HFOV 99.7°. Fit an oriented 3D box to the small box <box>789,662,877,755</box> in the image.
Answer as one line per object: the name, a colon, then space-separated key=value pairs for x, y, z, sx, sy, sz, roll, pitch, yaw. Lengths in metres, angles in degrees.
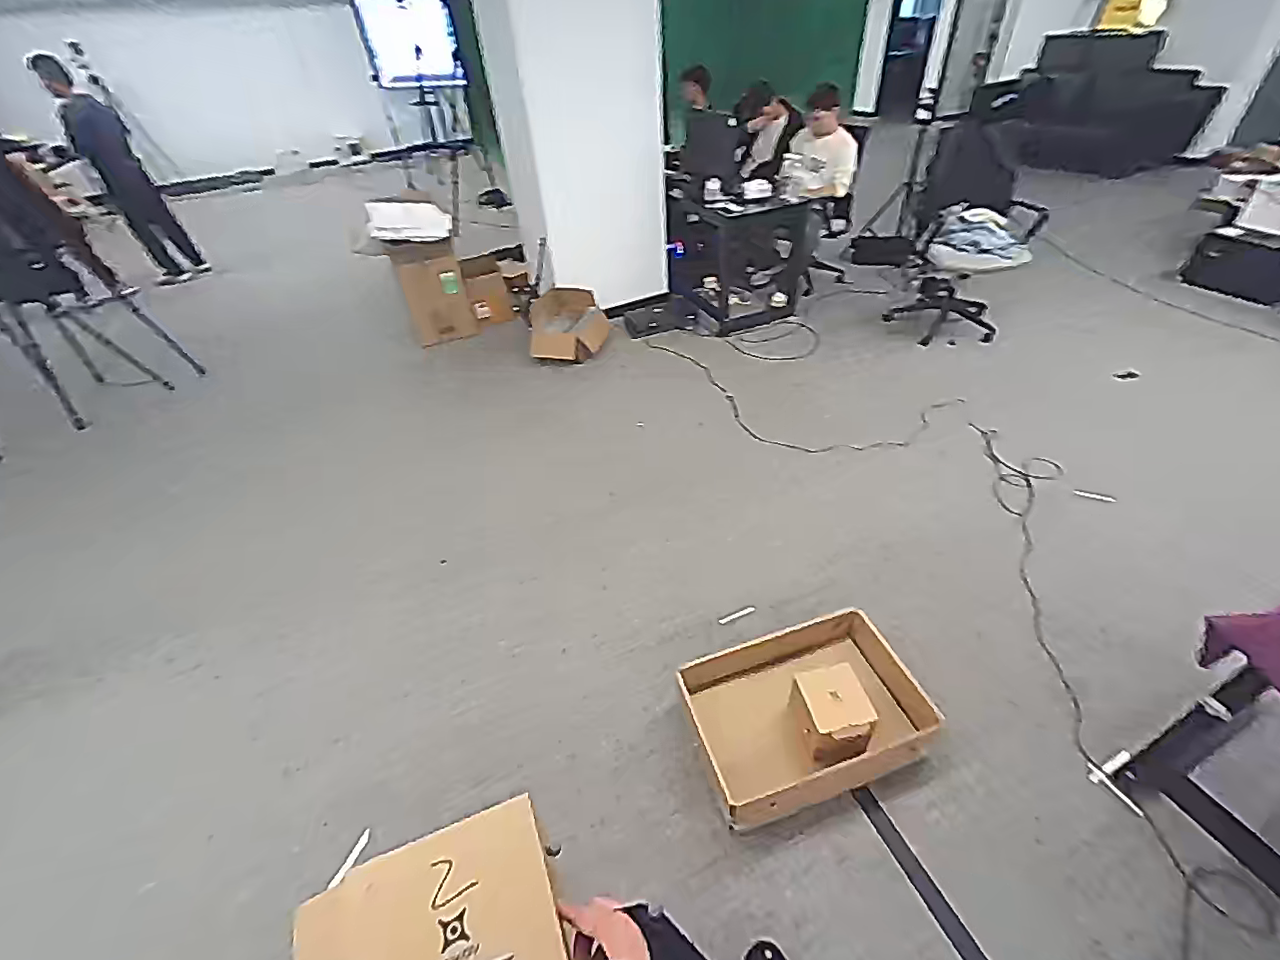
small box: x=0.525 y=0.637 z=1.497 sx=0.168 sy=0.176 sz=0.179 roll=-10 pitch=41 yaw=-5
